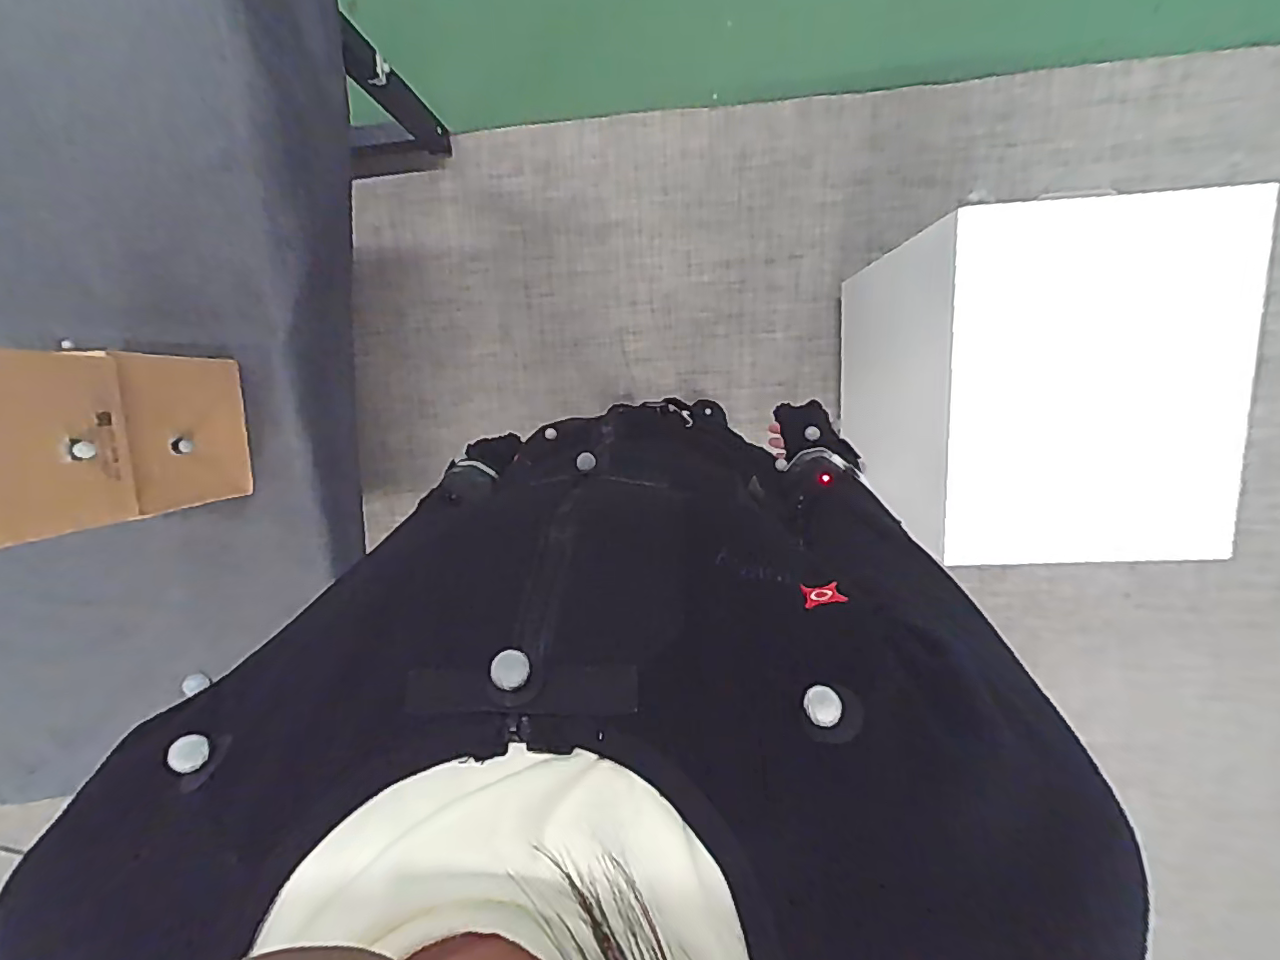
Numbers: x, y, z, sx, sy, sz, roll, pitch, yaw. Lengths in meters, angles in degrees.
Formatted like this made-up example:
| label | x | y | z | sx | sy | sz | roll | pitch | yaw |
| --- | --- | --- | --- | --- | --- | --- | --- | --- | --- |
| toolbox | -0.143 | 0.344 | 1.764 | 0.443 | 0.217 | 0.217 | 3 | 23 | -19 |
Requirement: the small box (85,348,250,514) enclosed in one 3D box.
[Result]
| label | x | y | z | sx | sy | sz | roll | pitch | yaw |
| --- | --- | --- | --- | --- | --- | --- | --- | --- | --- |
| small box | -0.609 | -0.064 | 0.646 | 0.168 | 0.176 | 0.179 | 0 | 100 | 5 |

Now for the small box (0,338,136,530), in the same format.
| label | x | y | z | sx | sy | sz | roll | pitch | yaw |
| --- | --- | --- | --- | --- | --- | --- | --- | --- | --- |
| small box | -0.621 | -0.038 | 0.484 | 0.179 | 0.176 | 0.168 | -2 | 99 | 7 |
